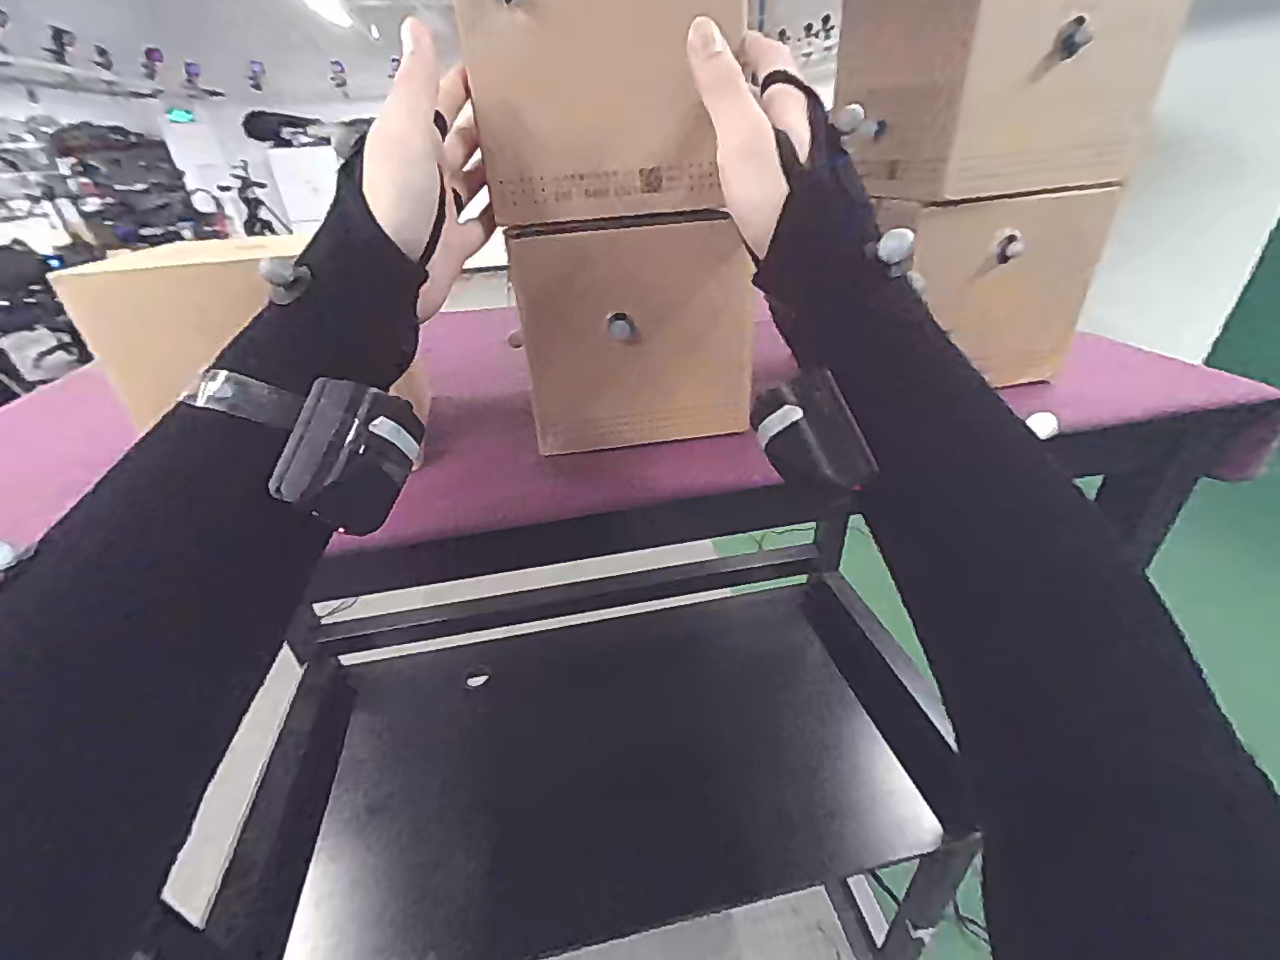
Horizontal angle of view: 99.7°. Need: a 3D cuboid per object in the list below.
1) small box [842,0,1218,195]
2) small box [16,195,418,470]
[{"bbox_3d":[0.282,-0.325,0.415,0.179,0.176,0.168,-10,33,-9],"label":"small box"},{"bbox_3d":[-0.282,-0.117,0.421,0.168,0.176,0.179,-9,32,-12],"label":"small box"}]
